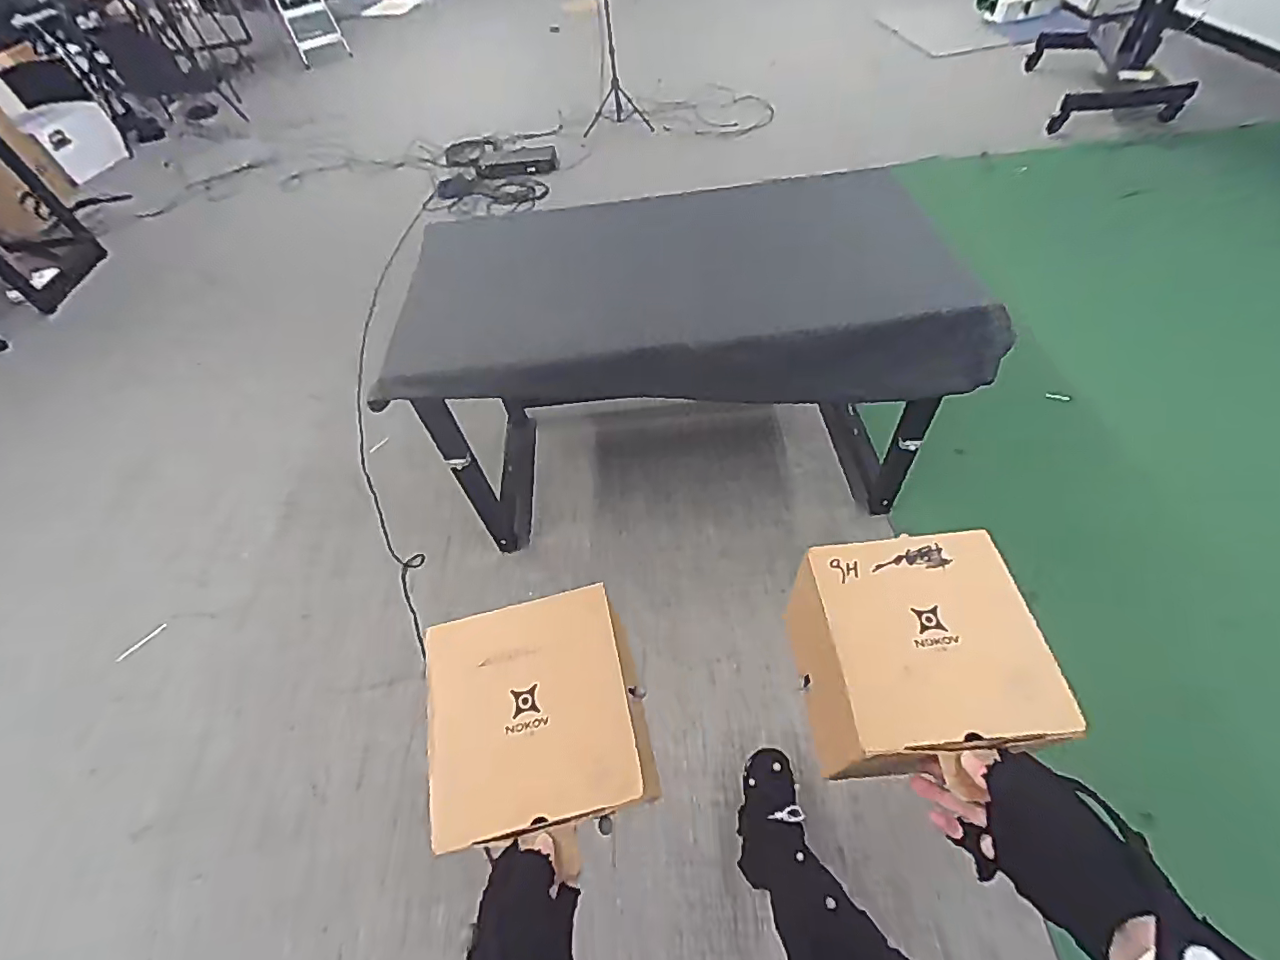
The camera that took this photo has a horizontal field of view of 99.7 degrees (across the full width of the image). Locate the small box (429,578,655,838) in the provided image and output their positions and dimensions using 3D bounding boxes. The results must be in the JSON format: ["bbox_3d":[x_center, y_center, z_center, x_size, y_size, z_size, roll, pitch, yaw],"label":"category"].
[{"bbox_3d":[-0.087,0.220,0.527,0.168,0.176,0.179,-15,60,-2],"label":"small box"}]
